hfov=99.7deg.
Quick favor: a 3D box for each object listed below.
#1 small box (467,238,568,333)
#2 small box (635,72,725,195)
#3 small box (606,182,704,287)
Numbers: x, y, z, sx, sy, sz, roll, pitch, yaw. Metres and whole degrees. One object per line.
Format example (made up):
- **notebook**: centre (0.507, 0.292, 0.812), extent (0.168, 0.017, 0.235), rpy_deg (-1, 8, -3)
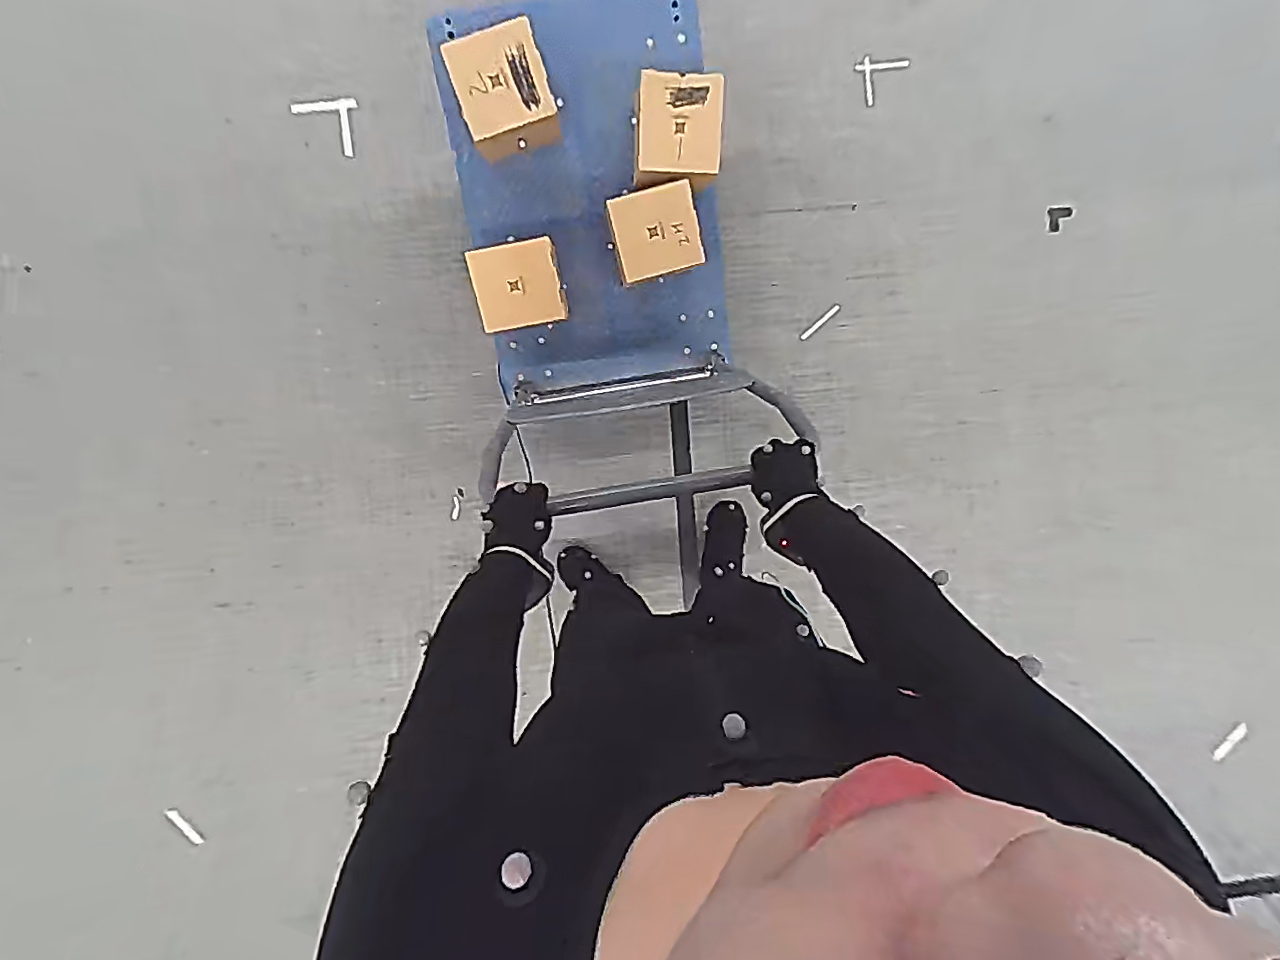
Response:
- **small box**: centre (-0.264, -0.425, 1.207), extent (0.179, 0.176, 0.168), rpy_deg (-12, 107, -3)
- **small box**: centre (0.076, -0.723, 1.145), extent (0.168, 0.176, 0.179), rpy_deg (0, 107, -4)
- **small box**: centre (0.030, -0.532, 1.197), extent (0.179, 0.176, 0.168), rpy_deg (-15, 107, 0)
